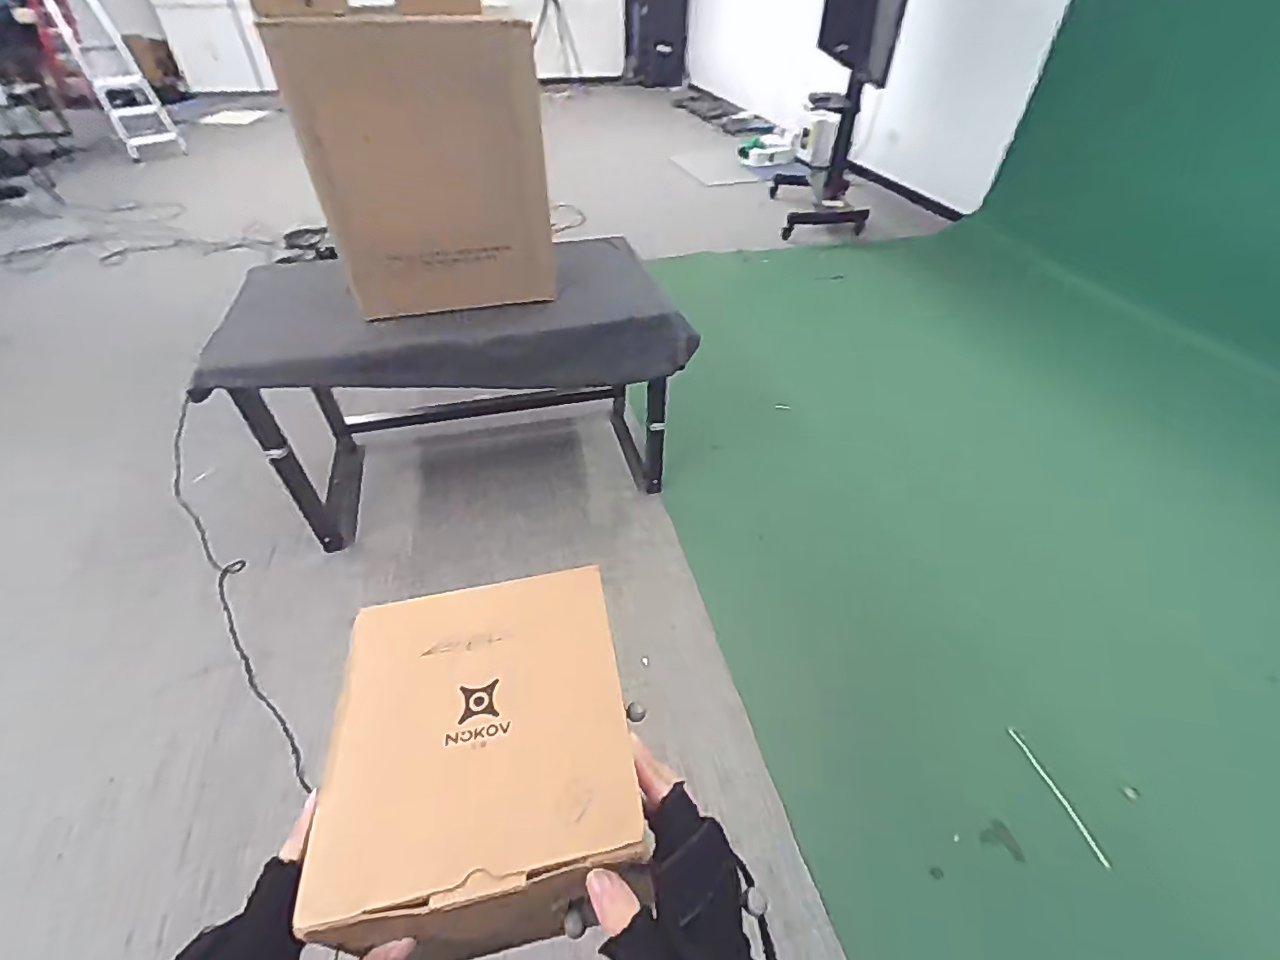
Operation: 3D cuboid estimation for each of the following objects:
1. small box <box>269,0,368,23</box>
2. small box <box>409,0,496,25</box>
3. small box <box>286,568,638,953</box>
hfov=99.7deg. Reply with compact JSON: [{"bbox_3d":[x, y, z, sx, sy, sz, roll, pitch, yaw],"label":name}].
[{"bbox_3d":[-0.653,-1.019,1.066,0.168,0.176,0.179,-11,47,-12],"label":"small box"},{"bbox_3d":[-0.399,-1.069,1.124,0.179,0.176,0.168,-10,47,-11],"label":"small box"},{"bbox_3d":[-0.097,0.191,0.371,0.168,0.176,0.179,-9,42,-8],"label":"small box"}]
